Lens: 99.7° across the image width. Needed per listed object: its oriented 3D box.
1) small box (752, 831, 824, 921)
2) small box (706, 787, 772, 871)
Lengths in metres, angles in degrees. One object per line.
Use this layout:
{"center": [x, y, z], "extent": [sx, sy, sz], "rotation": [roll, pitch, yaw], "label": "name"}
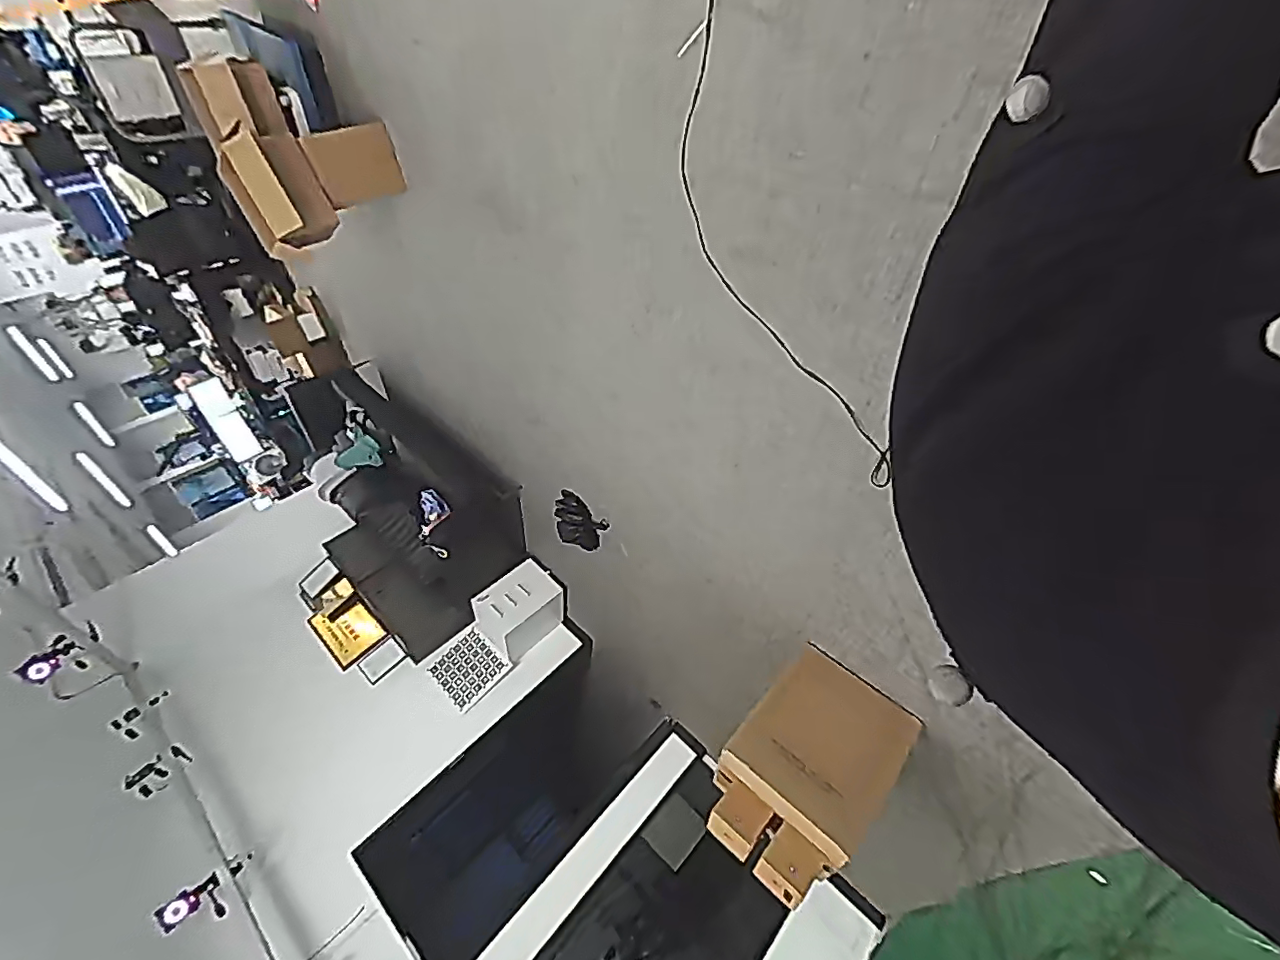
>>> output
{"center": [0.535, 1.419, 1.944], "extent": [0.179, 0.176, 0.168], "rotation": [32, 135, 31], "label": "small box"}
{"center": [0.379, 1.321, 2.054], "extent": [0.179, 0.176, 0.168], "rotation": [32, 134, 33], "label": "small box"}
